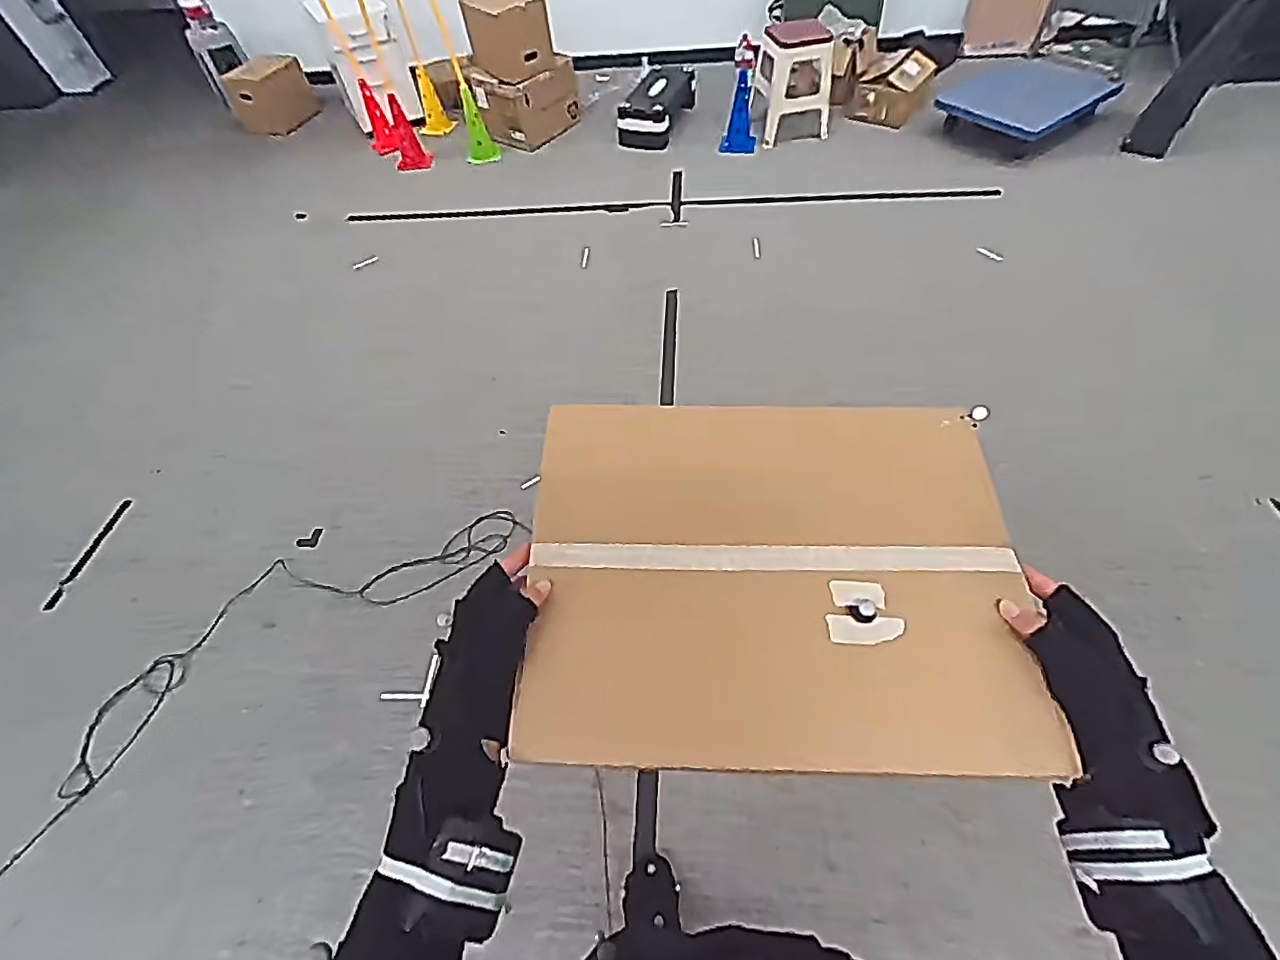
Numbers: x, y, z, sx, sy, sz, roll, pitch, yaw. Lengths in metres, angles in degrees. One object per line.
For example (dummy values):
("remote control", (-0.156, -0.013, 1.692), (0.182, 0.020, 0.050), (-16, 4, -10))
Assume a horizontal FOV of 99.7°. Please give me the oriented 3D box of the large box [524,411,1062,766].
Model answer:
("large box", (0.112, 0.138, 0.595), (0.408, 0.320, 0.320), (0, 63, 1))
